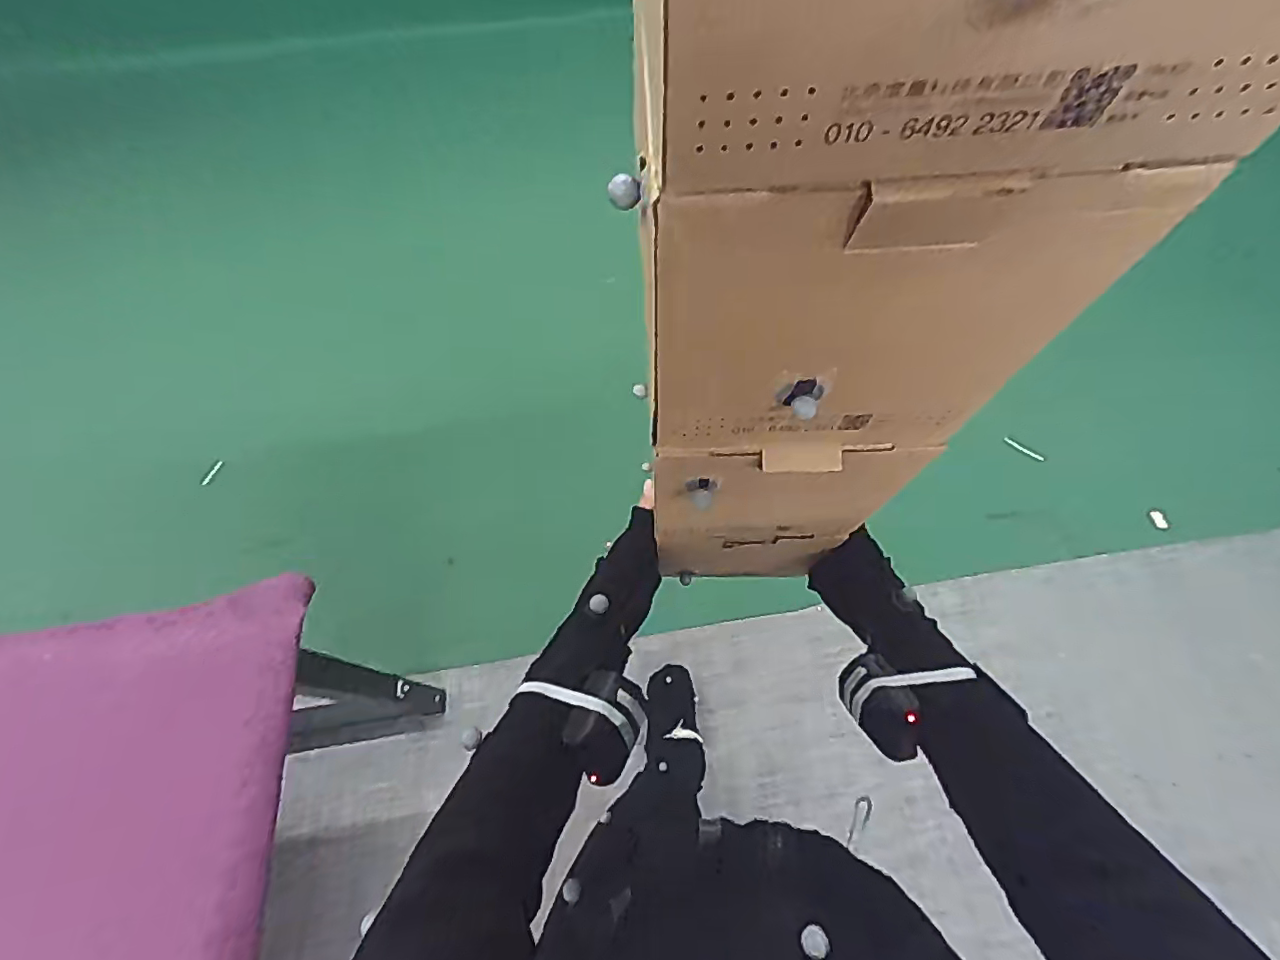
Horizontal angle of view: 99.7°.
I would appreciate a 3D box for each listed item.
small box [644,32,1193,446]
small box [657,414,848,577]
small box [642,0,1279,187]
[{"bbox_3d":[0.086,-0.134,0.271,0.168,0.176,0.179,-3,67,1],"label":"small box"},{"bbox_3d":[0.103,0.001,0.569,0.168,0.176,0.179,0,66,2],"label":"small box"},{"bbox_3d":[0.080,-0.200,0.121,0.168,0.176,0.179,-4,67,1],"label":"small box"}]
